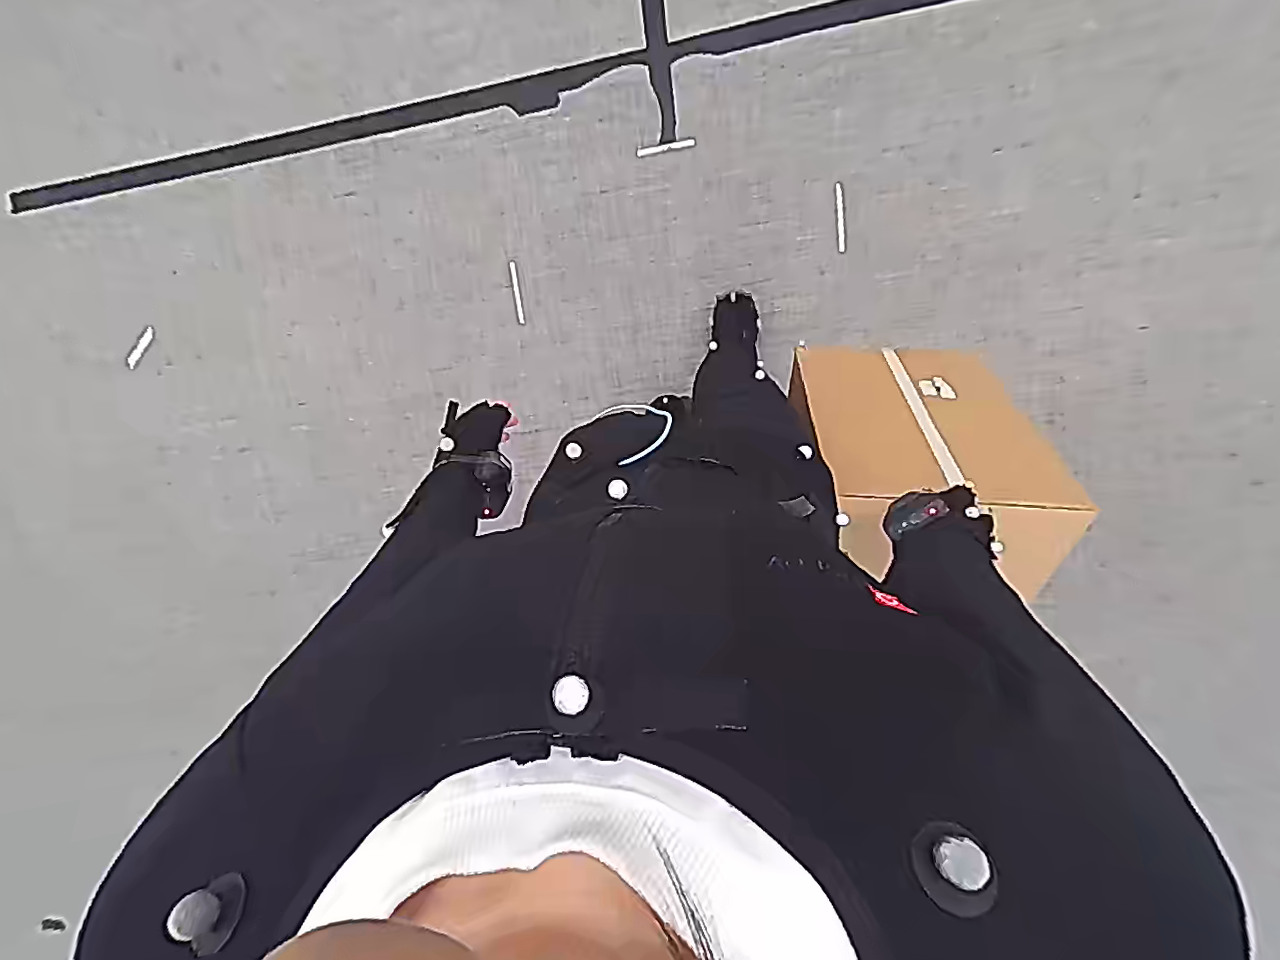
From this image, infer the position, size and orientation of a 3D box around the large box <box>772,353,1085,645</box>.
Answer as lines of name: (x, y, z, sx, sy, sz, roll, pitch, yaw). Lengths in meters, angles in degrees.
large box: (0.416, 0.020, 0.917, 0.320, 0.408, 0.320, 4, 129, 4)
